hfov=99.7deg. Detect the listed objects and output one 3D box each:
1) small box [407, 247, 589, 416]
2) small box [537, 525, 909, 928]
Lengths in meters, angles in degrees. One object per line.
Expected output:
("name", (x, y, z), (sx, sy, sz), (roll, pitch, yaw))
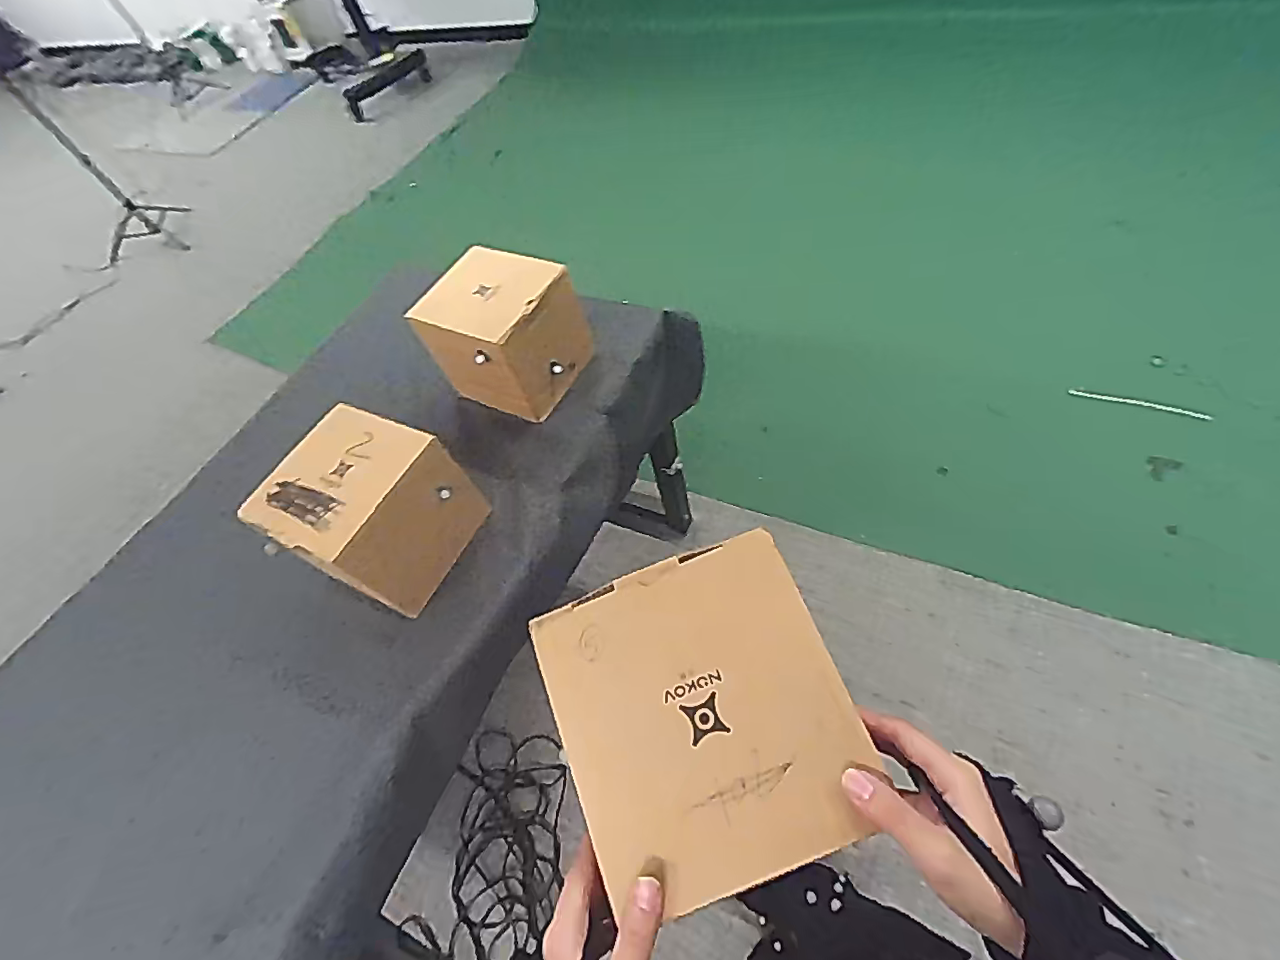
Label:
("small box", (-0.203, -0.221, 0.821), (0.179, 0.176, 0.168), (20, 64, 22))
("small box", (0.046, 0.157, 0.385), (0.168, 0.176, 0.179), (-21, 70, -1))
